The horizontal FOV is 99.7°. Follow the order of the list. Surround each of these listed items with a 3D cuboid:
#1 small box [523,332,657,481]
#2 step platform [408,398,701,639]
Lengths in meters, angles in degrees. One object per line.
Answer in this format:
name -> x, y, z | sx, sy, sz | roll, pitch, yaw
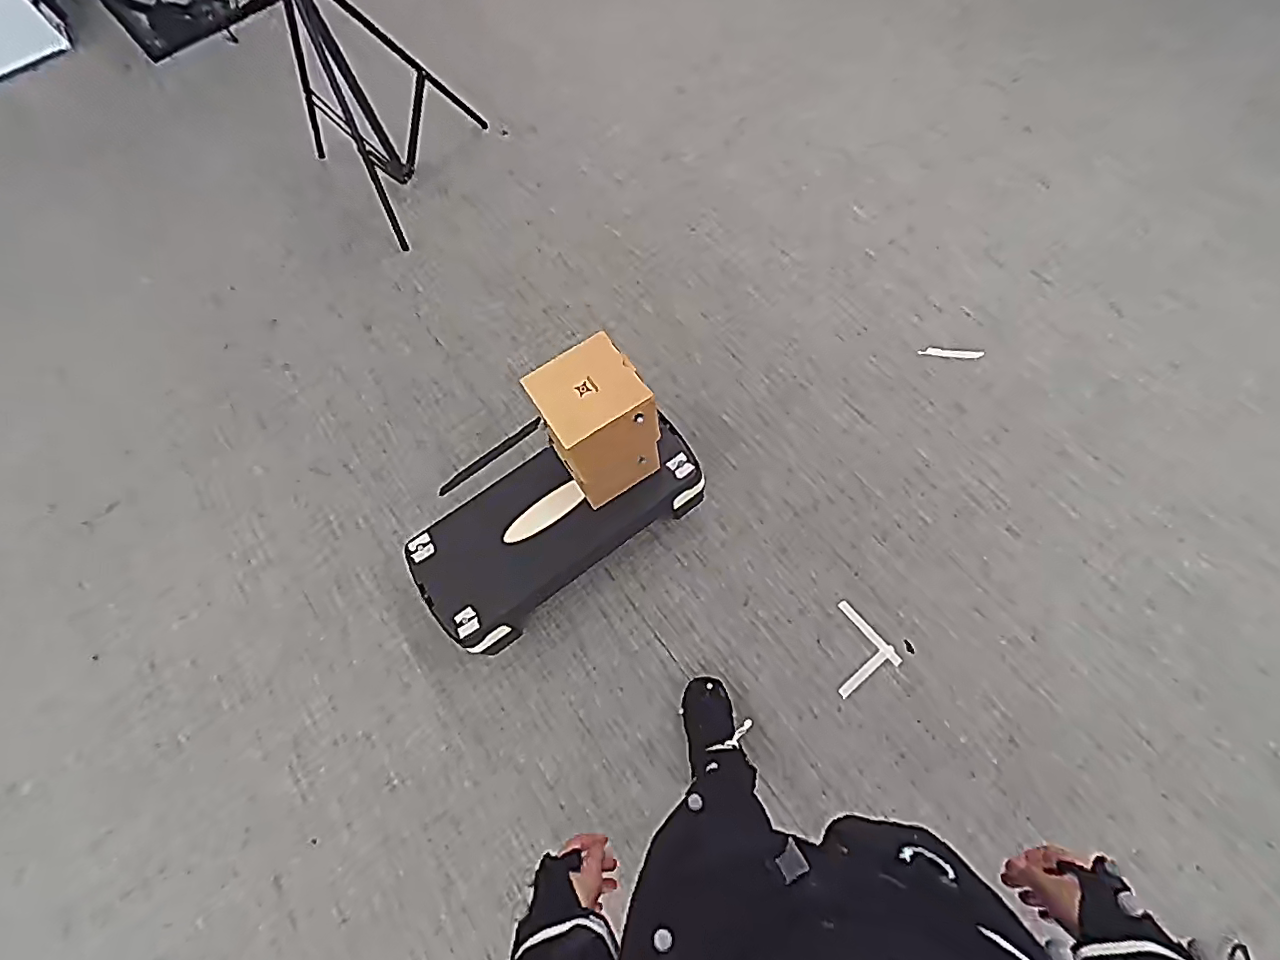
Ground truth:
small box -> -0.082, -0.126, 0.988 | 0.179, 0.176, 0.168 | -33, 70, -8
step platform -> -0.187, 0.067, 1.285 | 0.684, 0.204, 0.286 | -36, 70, -8
